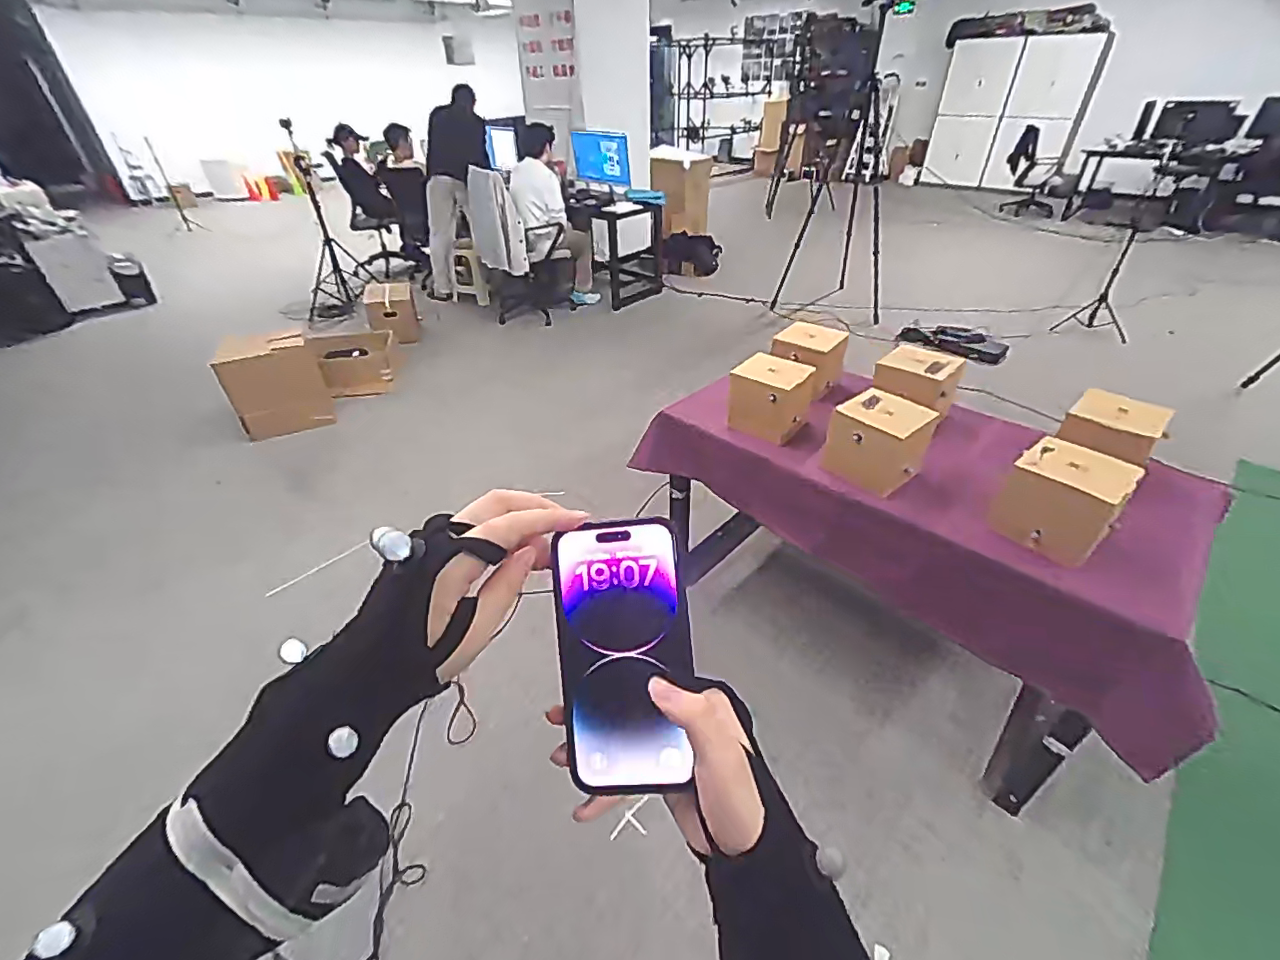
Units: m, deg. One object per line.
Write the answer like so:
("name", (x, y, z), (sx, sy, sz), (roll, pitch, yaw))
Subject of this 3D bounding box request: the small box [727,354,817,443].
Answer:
("small box", (0.356, -0.223, 1.483), (0.179, 0.176, 0.168), (26, 44, 30))

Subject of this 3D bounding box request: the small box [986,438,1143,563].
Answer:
("small box", (0.857, 0.046, 1.105), (0.168, 0.176, 0.179), (-26, 43, -30))

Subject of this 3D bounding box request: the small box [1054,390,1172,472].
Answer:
("small box", (1.088, -0.084, 1.273), (0.179, 0.176, 0.168), (-29, 44, -31))

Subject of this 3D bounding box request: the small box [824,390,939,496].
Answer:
("small box", (0.569, -0.090, 1.296), (0.168, 0.176, 0.179), (-27, 44, -30))
